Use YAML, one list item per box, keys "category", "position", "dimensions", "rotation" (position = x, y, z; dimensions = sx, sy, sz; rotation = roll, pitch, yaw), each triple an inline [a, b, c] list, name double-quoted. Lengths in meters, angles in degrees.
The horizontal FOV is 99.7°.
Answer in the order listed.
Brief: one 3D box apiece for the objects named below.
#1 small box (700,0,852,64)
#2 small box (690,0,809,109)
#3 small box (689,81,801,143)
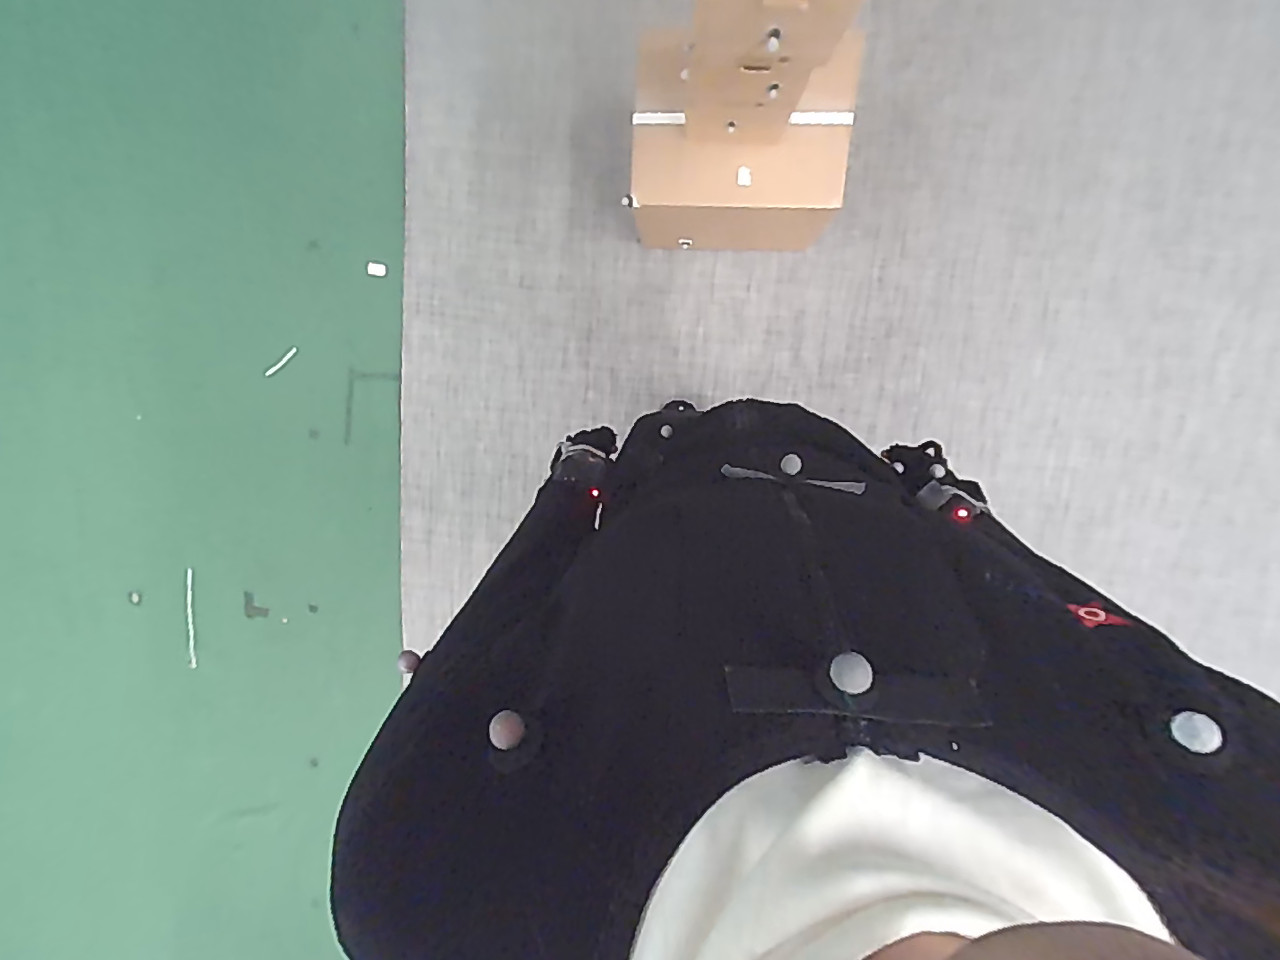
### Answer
- category: "small box"
  position: [0.157, -0.603, 0.608]
  dimensions: [0.168, 0.176, 0.179]
  rotation: [4, 106, 4]
- category: "small box"
  position: [0.159, -0.653, 0.764]
  dimensions: [0.168, 0.176, 0.179]
  rotation: [3, 104, 4]
- category: "small box"
  position: [0.175, -0.694, 0.920]
  dimensions: [0.179, 0.176, 0.168]
  rotation: [3, 105, 5]
